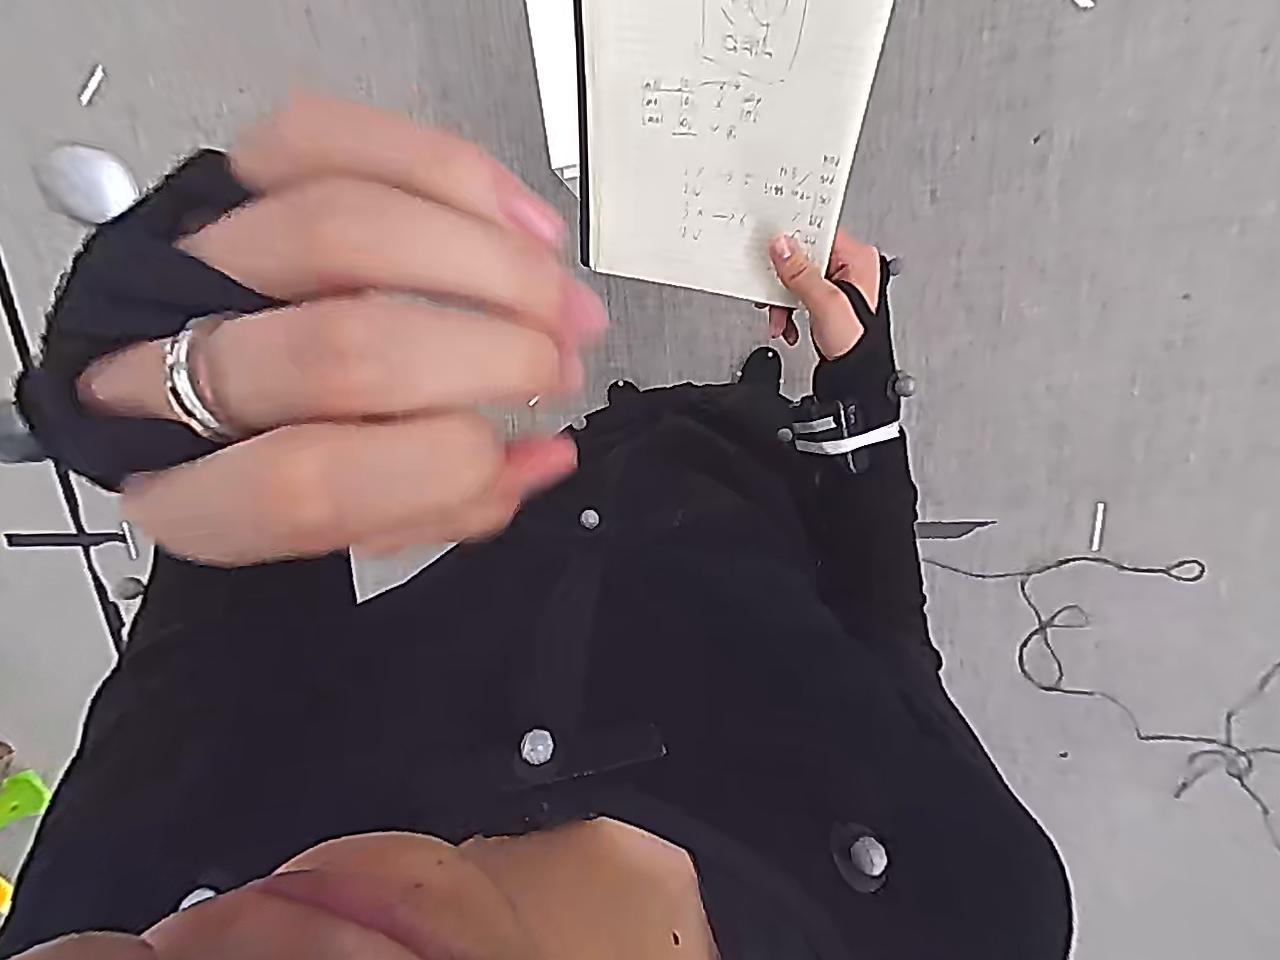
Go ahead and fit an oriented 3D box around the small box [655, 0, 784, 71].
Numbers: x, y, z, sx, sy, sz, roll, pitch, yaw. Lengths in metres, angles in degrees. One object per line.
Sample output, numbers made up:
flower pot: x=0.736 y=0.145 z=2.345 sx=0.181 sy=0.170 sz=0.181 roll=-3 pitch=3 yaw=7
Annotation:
small box: x=0.104 y=-0.729 z=0.758 sx=0.179 sy=0.176 sz=0.168 roll=-14 pitch=100 yaw=11
